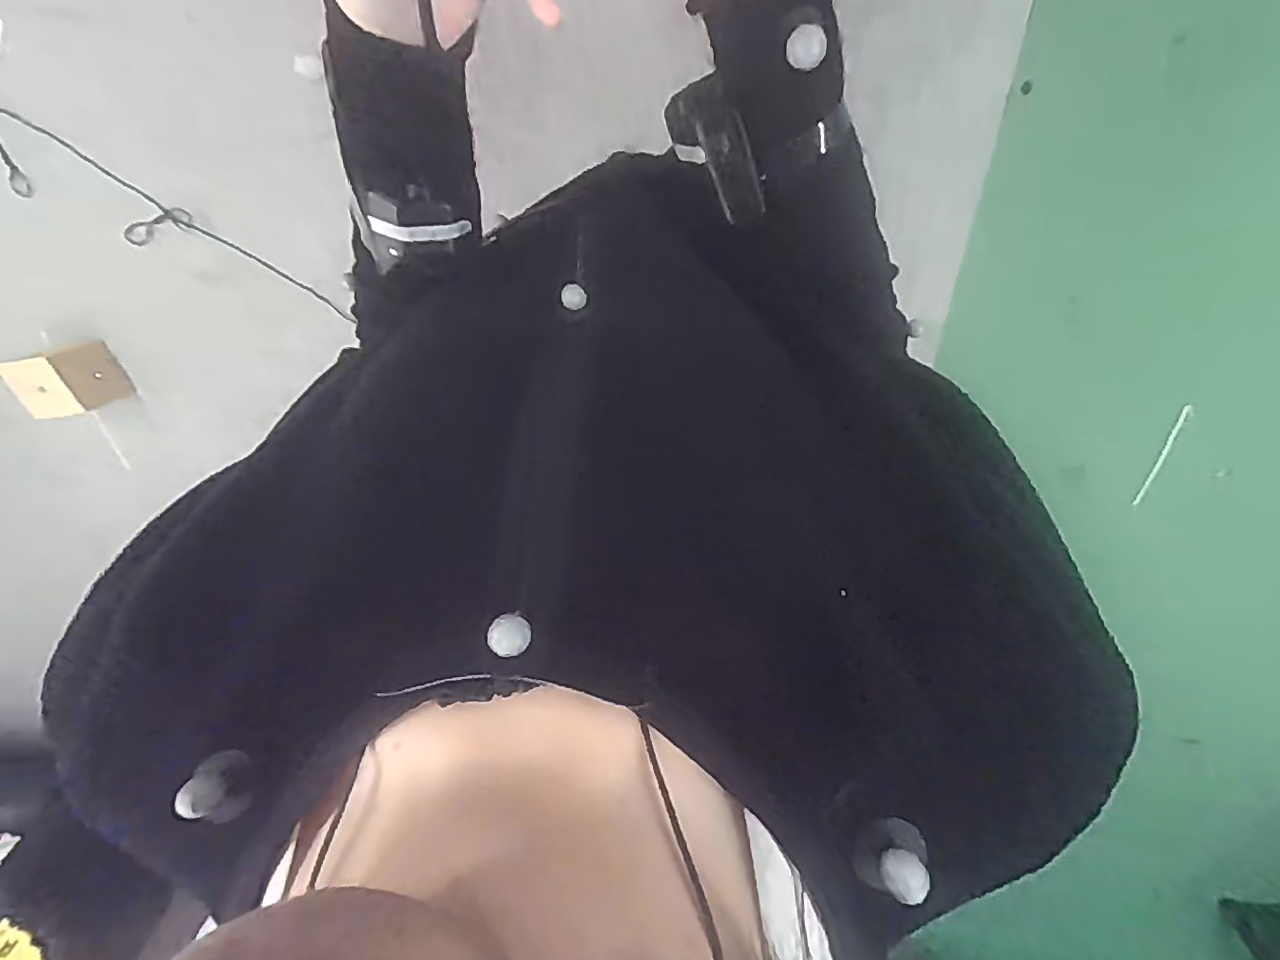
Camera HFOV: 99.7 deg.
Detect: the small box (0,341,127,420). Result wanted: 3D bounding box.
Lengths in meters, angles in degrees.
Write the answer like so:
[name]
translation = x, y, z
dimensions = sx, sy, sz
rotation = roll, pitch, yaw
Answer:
[small box]
translation = -1.635, -0.288, 1.544
dimensions = 0.179, 0.176, 0.168
rotation = -5, 120, 9
